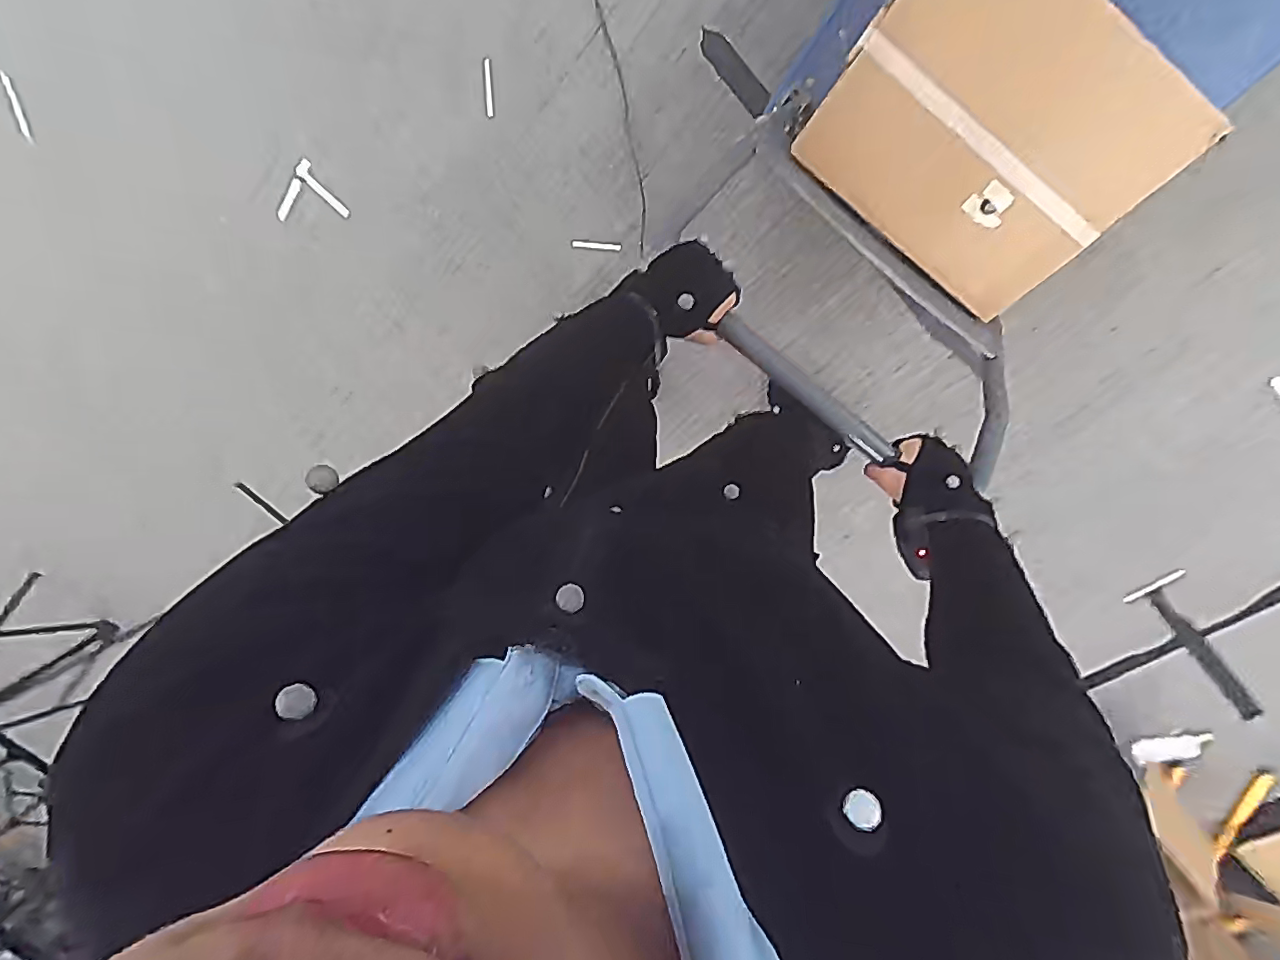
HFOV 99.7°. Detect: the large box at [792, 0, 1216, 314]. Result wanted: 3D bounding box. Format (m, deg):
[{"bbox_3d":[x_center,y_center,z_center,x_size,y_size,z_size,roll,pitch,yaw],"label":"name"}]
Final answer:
[{"bbox_3d":[0.506,-0.544,0.833,0.408,0.320,0.320,37,135,-7],"label":"large box"}]
